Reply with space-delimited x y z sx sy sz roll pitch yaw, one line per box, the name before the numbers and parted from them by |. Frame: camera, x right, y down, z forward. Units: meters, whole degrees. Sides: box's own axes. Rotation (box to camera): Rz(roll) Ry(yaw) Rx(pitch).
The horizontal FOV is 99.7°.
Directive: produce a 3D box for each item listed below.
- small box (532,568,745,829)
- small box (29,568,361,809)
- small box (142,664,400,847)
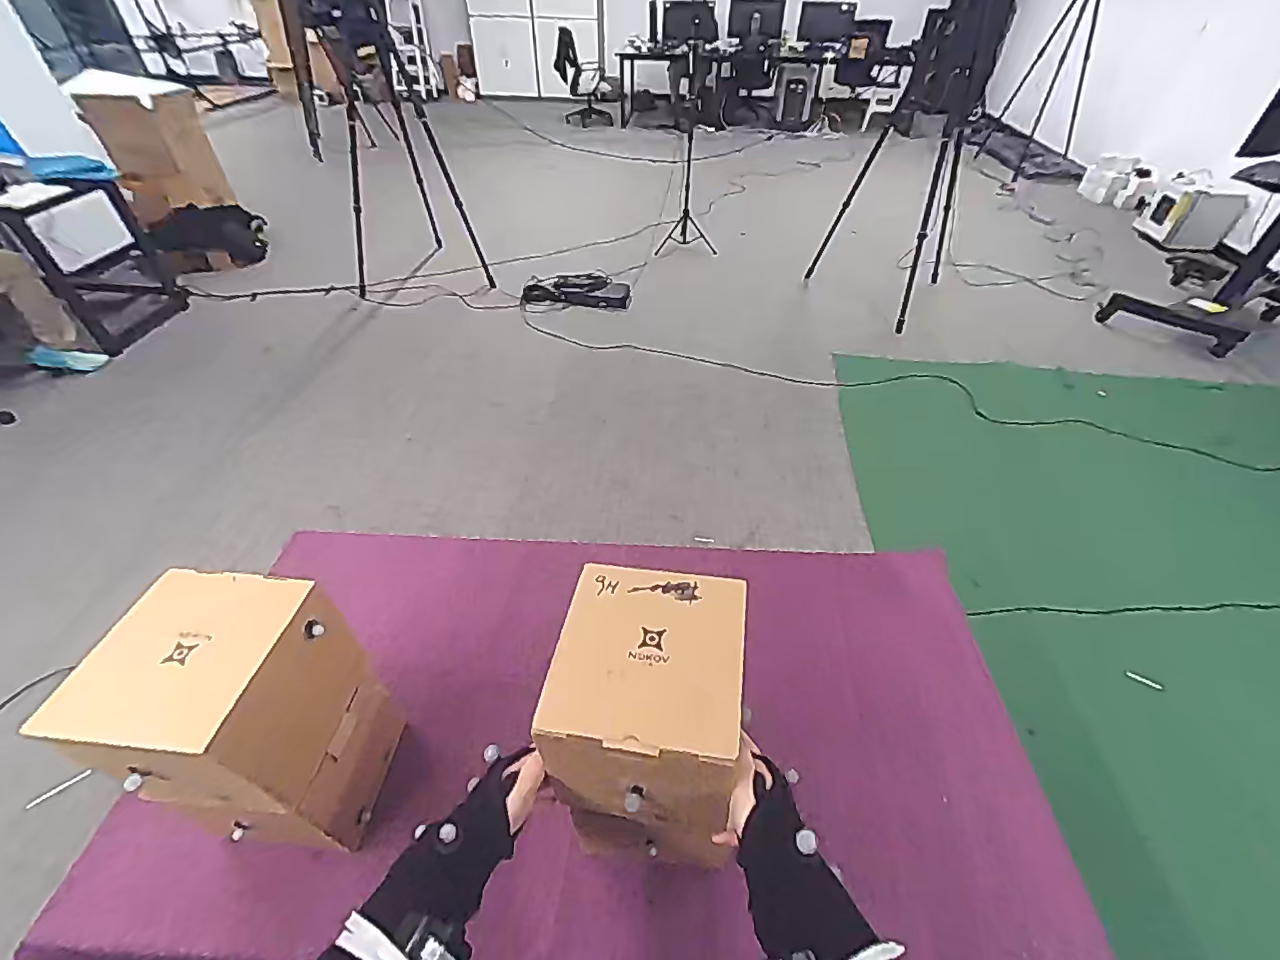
small box | 0.012 0.214 0.533 0.168 0.176 0.179 5 42 9
small box | -0.424 0.216 0.561 0.168 0.176 0.179 5 43 4
small box | -0.428 0.336 0.671 0.179 0.176 0.168 3 43 3
